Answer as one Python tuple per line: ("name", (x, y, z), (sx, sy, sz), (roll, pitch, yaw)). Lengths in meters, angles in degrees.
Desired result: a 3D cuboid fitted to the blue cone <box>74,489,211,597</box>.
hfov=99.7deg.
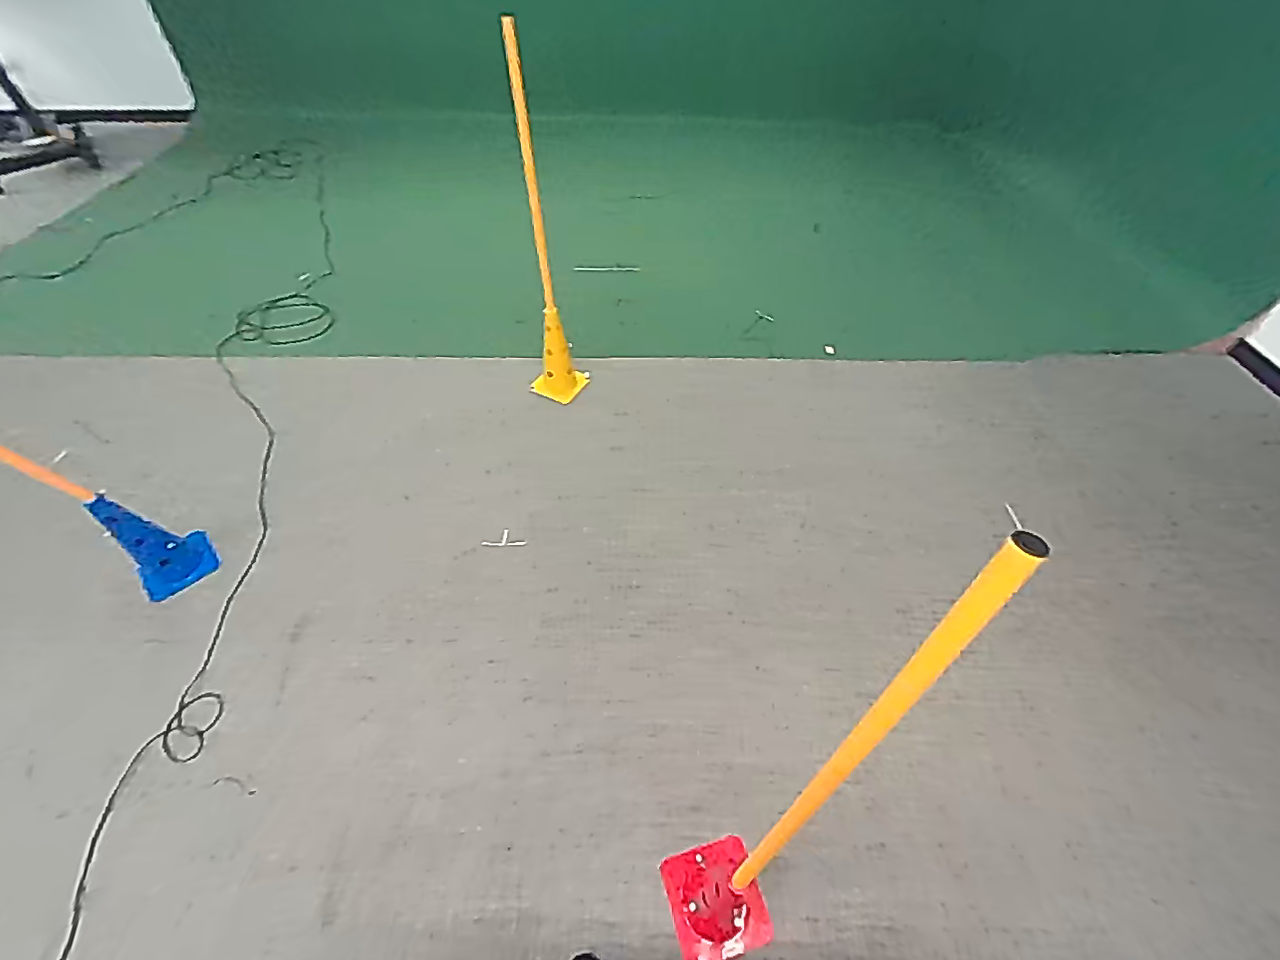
("blue cone", (-1.459, 0.157, 1.558), (0.192, 0.380, 0.193), (38, 61, 26))
